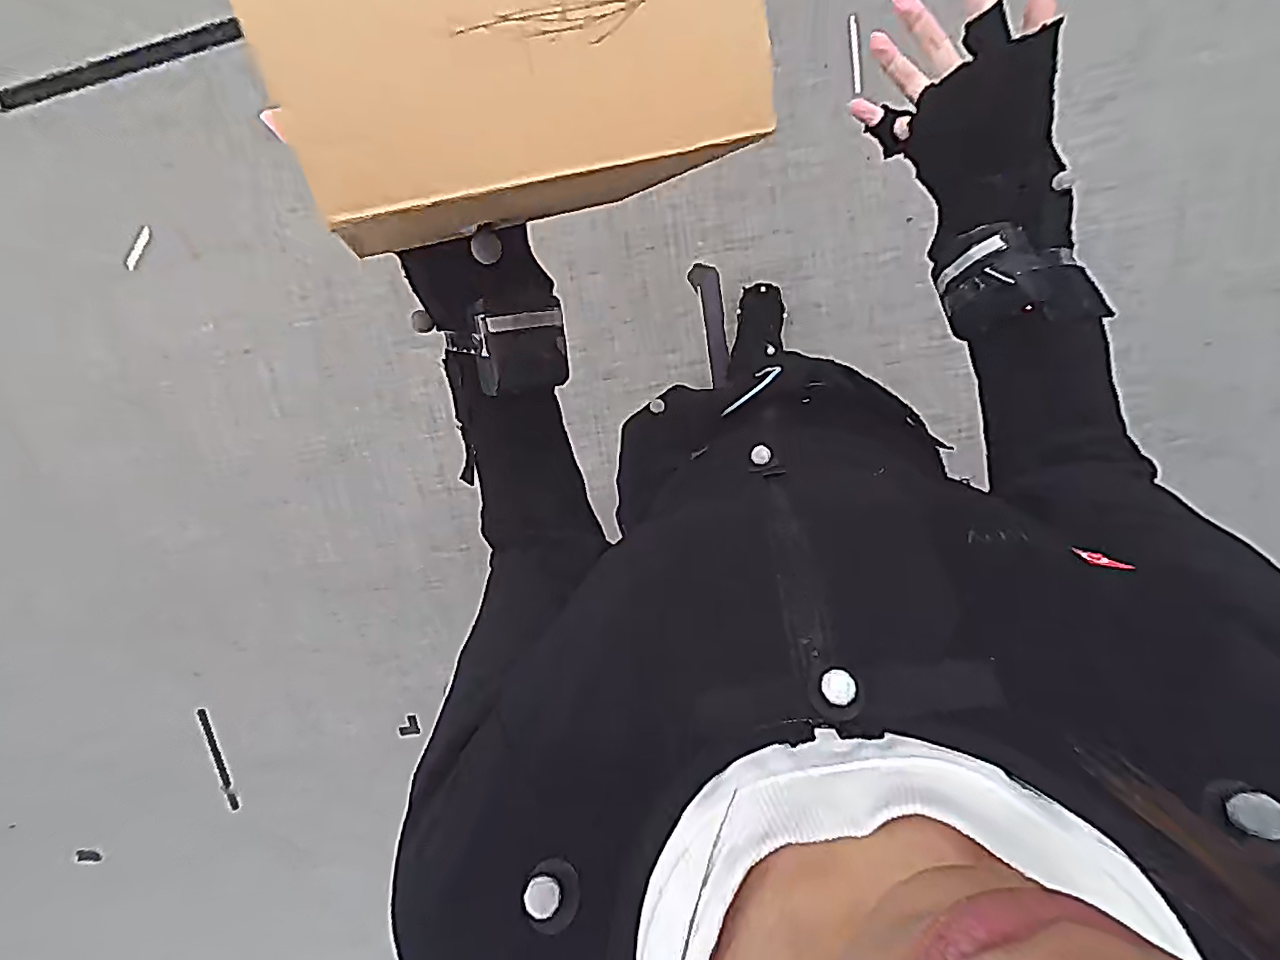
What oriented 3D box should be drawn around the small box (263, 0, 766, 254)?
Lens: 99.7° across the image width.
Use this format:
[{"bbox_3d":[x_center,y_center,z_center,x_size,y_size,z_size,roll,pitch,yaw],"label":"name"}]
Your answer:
[{"bbox_3d":[-0.071,-0.211,0.234,0.168,0.176,0.179,-21,114,-17],"label":"small box"}]
